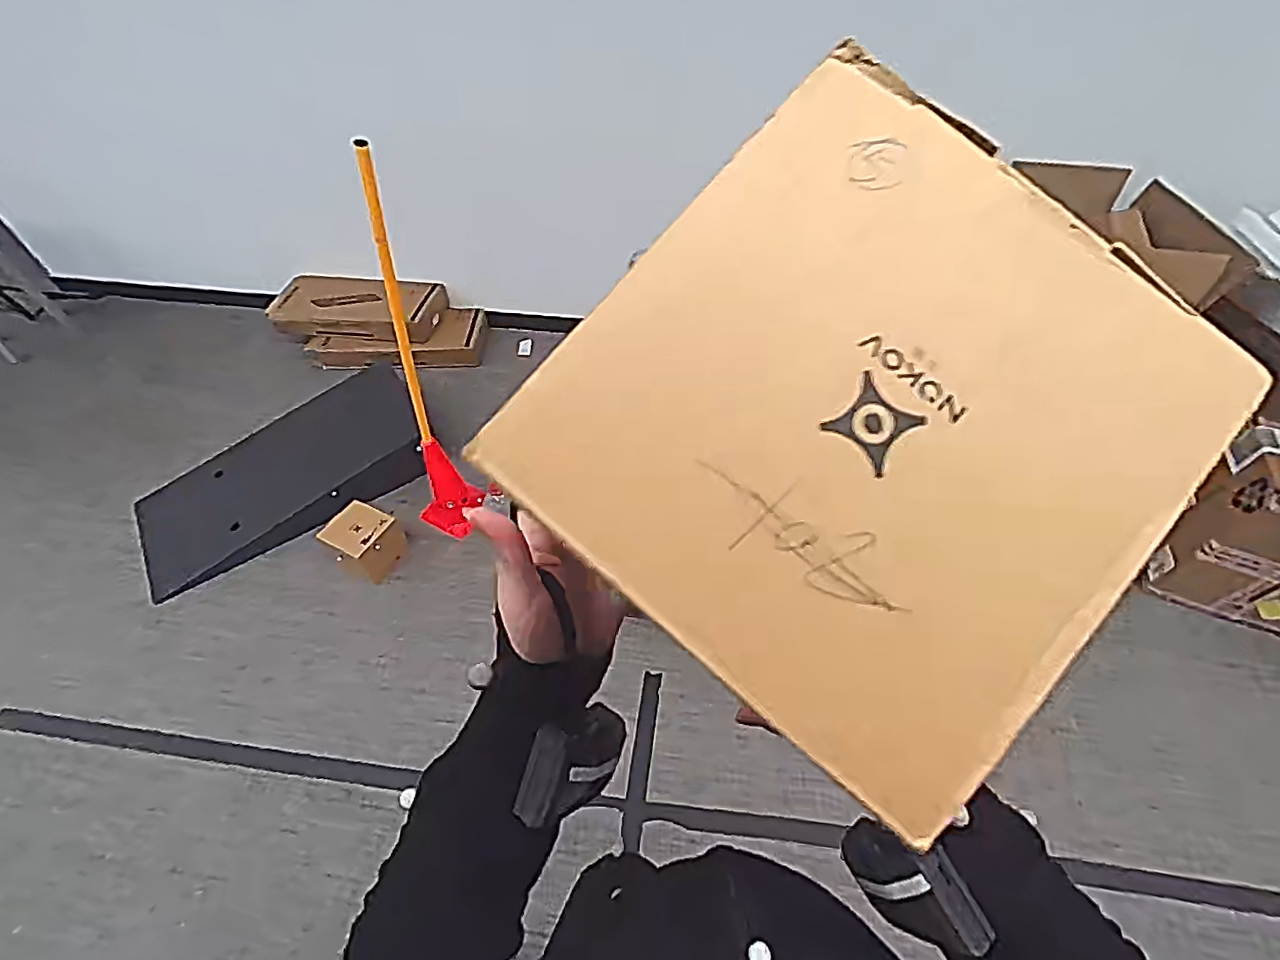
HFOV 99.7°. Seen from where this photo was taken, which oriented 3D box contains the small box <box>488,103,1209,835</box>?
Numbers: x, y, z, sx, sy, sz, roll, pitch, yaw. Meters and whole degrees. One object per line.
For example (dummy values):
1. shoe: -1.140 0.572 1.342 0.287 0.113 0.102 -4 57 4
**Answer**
1. small box: 0.066 -0.004 0.249 0.168 0.176 0.179 40 86 4
